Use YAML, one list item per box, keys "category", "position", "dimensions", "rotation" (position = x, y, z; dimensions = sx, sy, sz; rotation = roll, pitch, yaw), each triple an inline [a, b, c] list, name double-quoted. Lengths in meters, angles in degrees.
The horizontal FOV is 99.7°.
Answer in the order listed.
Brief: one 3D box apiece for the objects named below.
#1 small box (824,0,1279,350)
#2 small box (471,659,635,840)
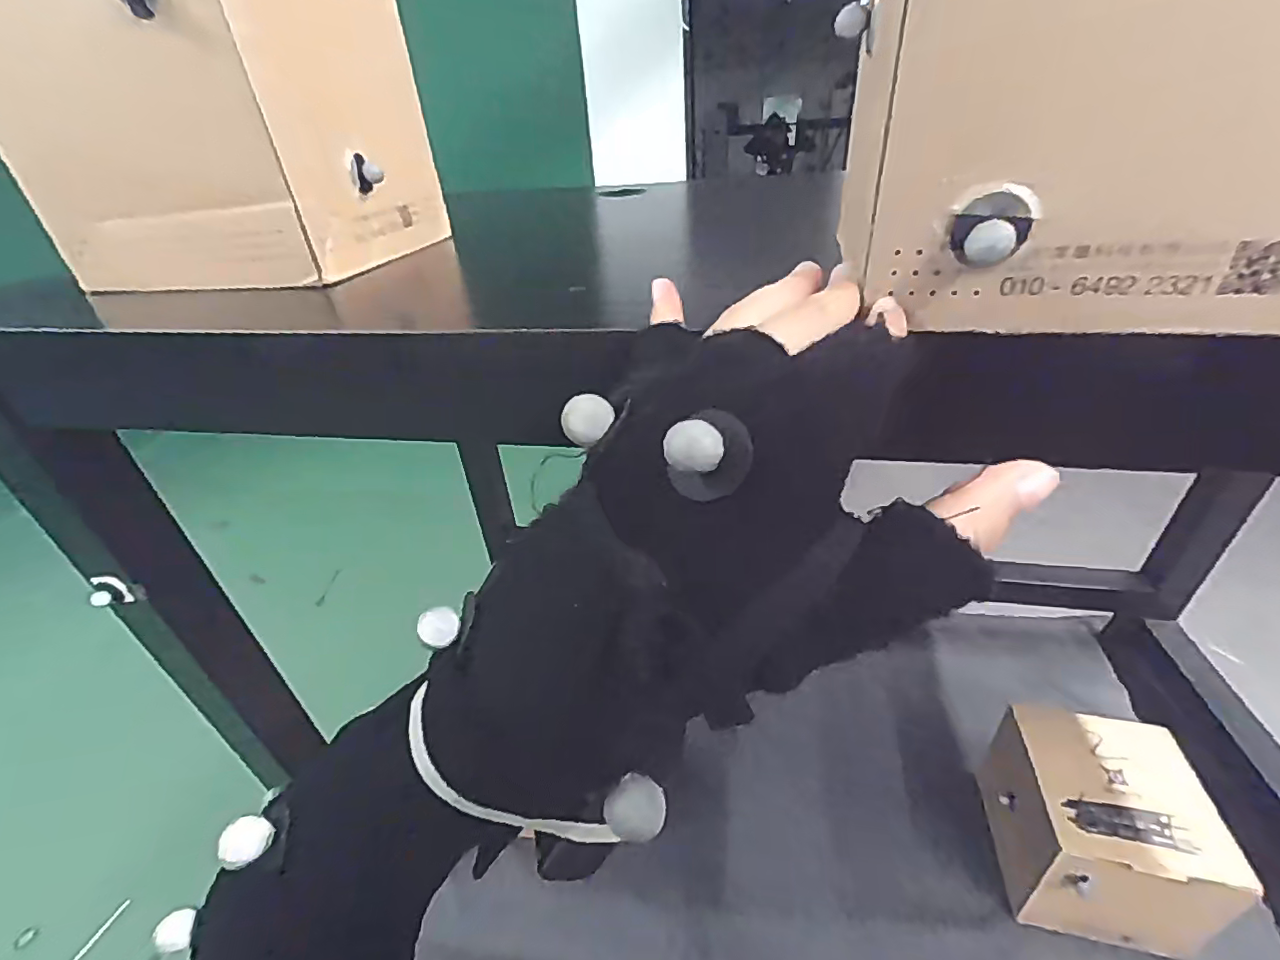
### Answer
- category: "small box"
  position: [0.164, -0.154, 0.197]
  dimensions: [0.168, 0.176, 0.179]
  rotation: [6, 34, 15]
- category: "small box"
  position: [-0.107, 0.375, 0.758]
  dimensions: [0.179, 0.176, 0.168]
  rotation: [1, 34, 8]
